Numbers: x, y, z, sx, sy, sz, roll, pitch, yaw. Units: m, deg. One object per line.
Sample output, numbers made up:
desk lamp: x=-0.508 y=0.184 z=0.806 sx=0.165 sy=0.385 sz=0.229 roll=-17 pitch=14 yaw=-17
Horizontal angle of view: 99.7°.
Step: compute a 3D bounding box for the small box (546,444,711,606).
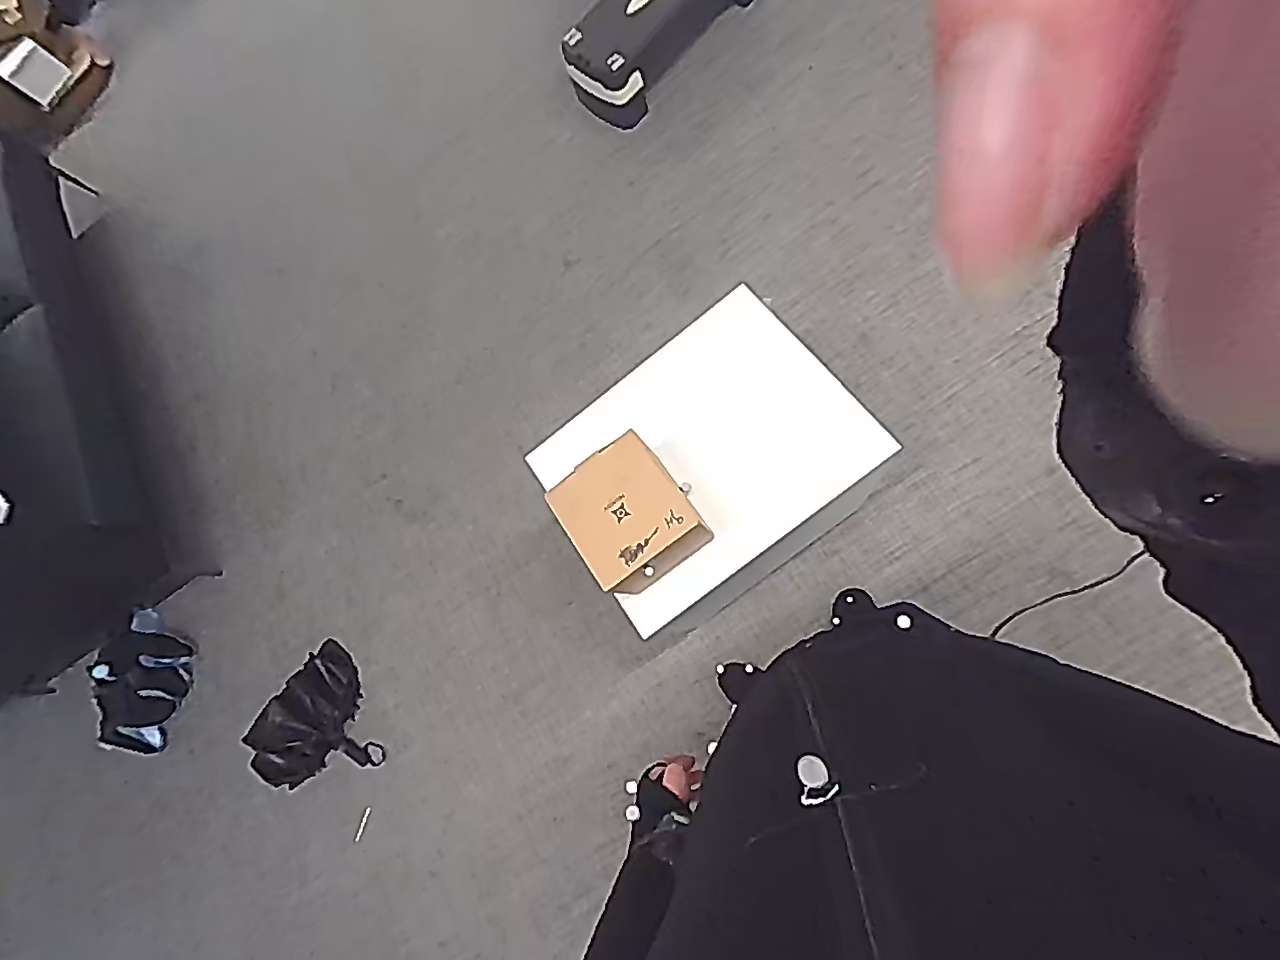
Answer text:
small box: x=-0.010 y=0.079 z=0.837 sx=0.168 sy=0.176 sz=0.179 roll=-37 pitch=69 yaw=3
